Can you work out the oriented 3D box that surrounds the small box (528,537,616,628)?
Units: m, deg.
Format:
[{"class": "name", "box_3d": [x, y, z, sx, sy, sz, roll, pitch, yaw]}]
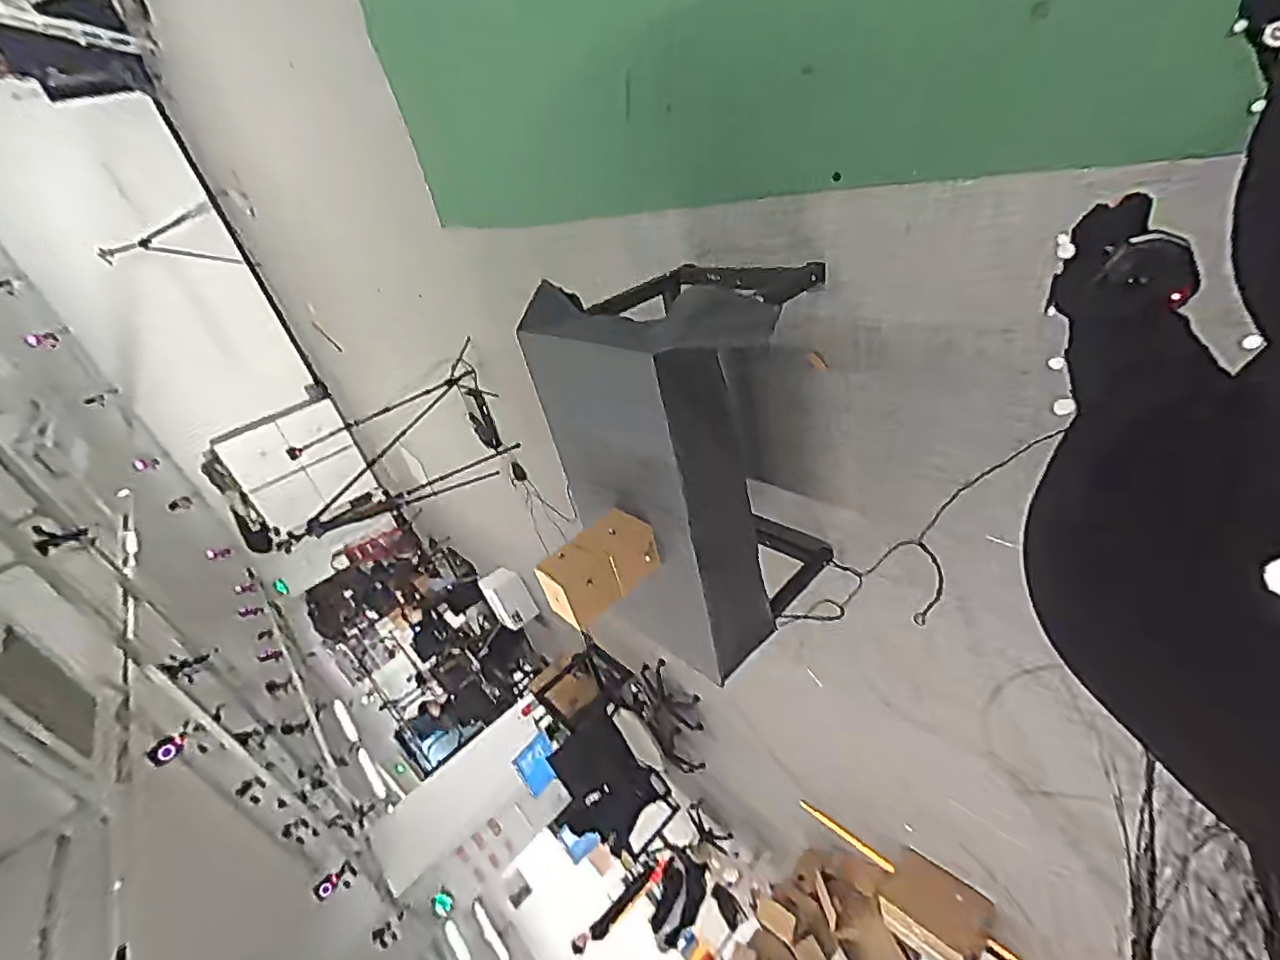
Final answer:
[{"class": "small box", "box_3d": [-0.196, 0.295, 1.599, 0.168, 0.176, 0.179, 22, 136, 46]}]

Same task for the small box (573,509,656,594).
[{"class": "small box", "box_3d": [-0.077, 0.213, 1.675, 0.179, 0.176, 0.168, 23, 137, 43]}]
